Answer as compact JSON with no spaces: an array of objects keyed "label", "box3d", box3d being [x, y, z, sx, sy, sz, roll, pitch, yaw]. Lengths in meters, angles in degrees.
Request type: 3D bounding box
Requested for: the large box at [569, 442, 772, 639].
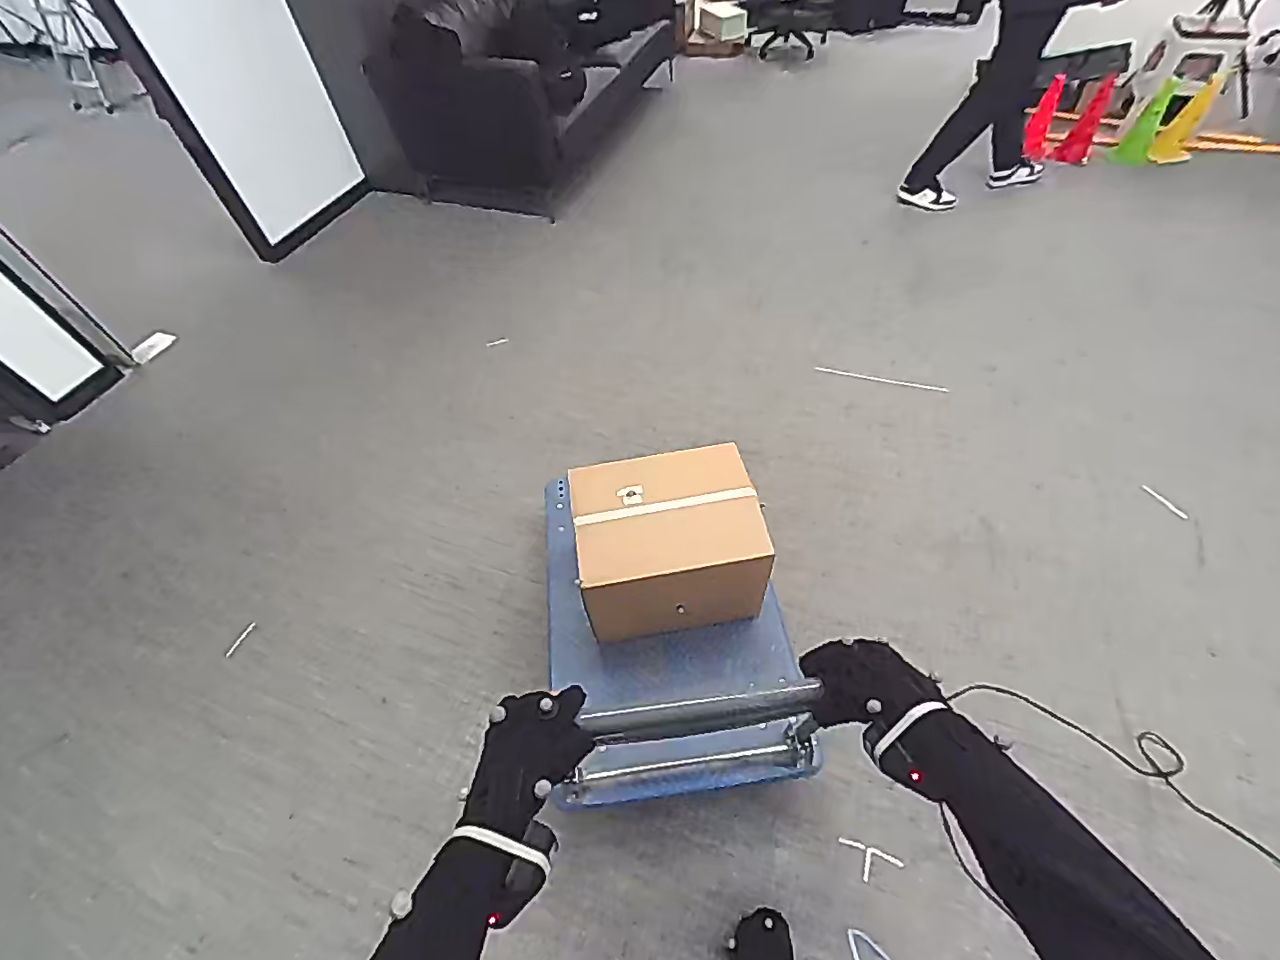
[{"label":"large box","box3d":[0.065,0.152,1.312,0.408,0.320,0.320,-11,53,-3]}]
